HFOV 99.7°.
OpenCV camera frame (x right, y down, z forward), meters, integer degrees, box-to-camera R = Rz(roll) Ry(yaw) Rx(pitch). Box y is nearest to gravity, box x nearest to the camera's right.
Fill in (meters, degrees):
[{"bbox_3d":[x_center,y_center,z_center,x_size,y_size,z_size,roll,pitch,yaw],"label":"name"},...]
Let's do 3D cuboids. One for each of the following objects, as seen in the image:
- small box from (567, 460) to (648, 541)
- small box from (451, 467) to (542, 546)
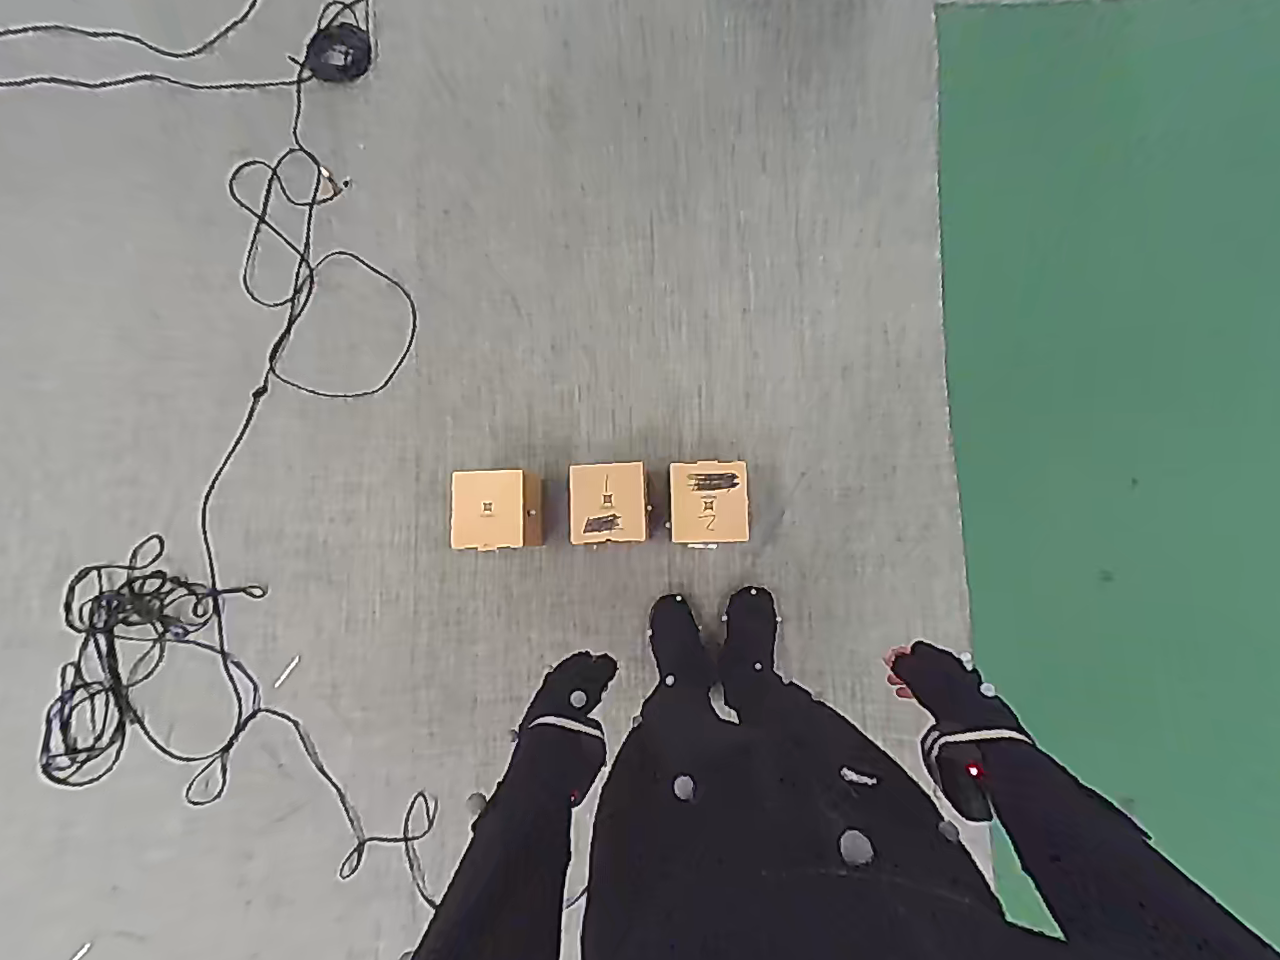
[{"bbox_3d":[-0.072,0.053,1.269,0.168,0.176,0.179,-3,83,5],"label":"small box"},{"bbox_3d":[-0.337,0.067,1.293,0.168,0.176,0.179,-2,84,5],"label":"small box"}]
